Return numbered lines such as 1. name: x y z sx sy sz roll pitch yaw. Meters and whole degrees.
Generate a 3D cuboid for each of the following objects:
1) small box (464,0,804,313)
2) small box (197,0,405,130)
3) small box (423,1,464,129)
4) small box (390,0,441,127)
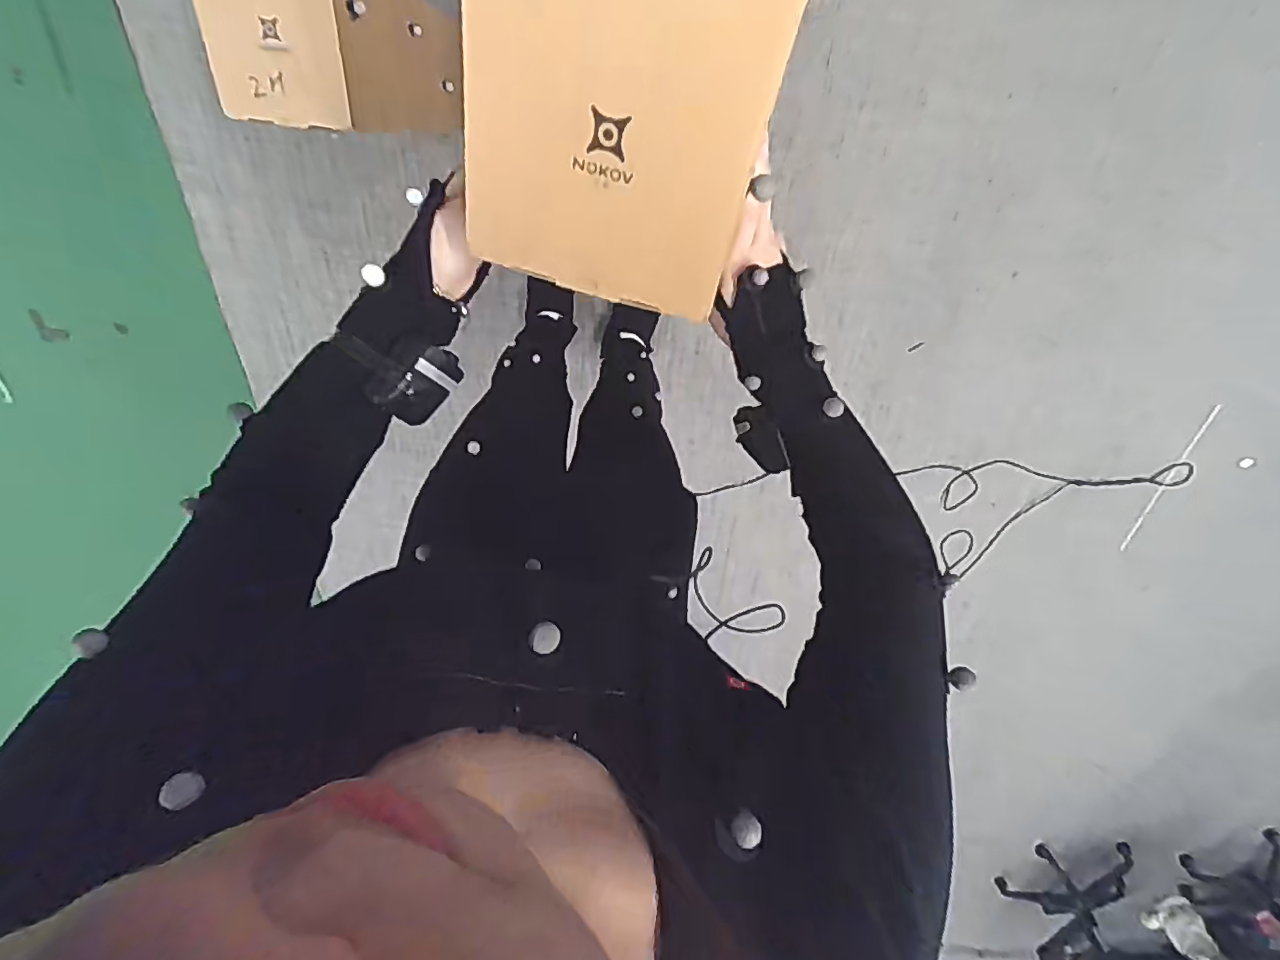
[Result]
1. small box: -0.003 -0.246 0.358 0.168 0.176 0.179 16 134 1
2. small box: -0.426 -0.568 0.701 0.168 0.176 0.179 6 123 0
3. small box: -0.423 -0.750 0.973 0.168 0.176 0.179 8 123 -3
4. small box: -0.424 -0.660 0.837 0.168 0.176 0.179 6 124 -1
